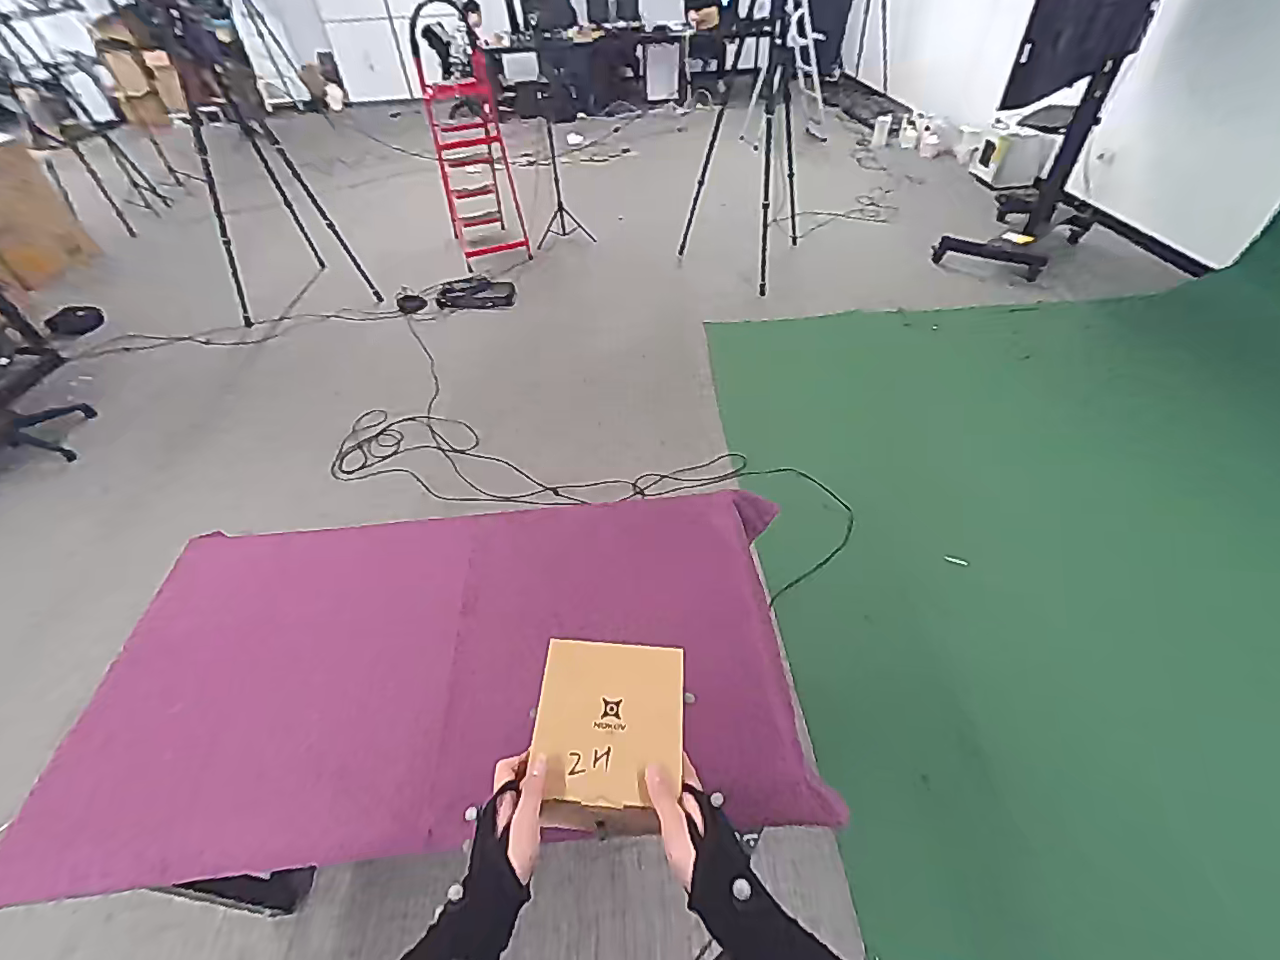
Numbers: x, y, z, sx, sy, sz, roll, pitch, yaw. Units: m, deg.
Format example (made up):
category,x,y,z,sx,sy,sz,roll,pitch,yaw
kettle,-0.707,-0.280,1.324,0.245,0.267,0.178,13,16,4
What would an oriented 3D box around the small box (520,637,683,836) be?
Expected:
category,x,y,z,sx,sy,sz,roll,pitch,yaw
small box,-0.040,0.316,0.665,0.168,0.176,0.179,5,50,1
